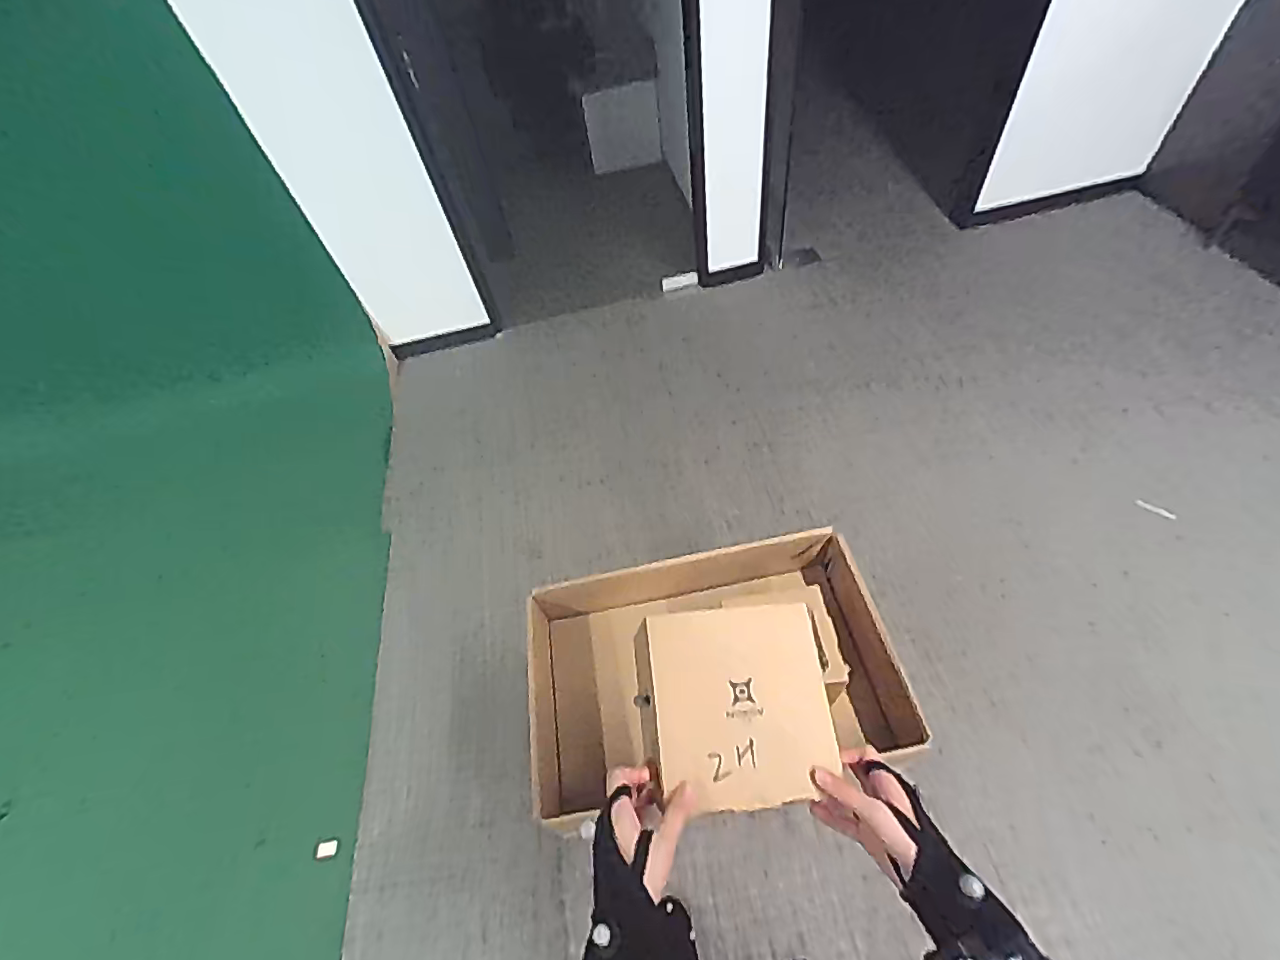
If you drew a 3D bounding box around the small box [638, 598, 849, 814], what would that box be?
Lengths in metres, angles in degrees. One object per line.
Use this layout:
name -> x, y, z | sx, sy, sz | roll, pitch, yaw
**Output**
small box -> 0.090, 0.233, 0.572 | 0.168, 0.176, 0.179 | -3, 67, -6
